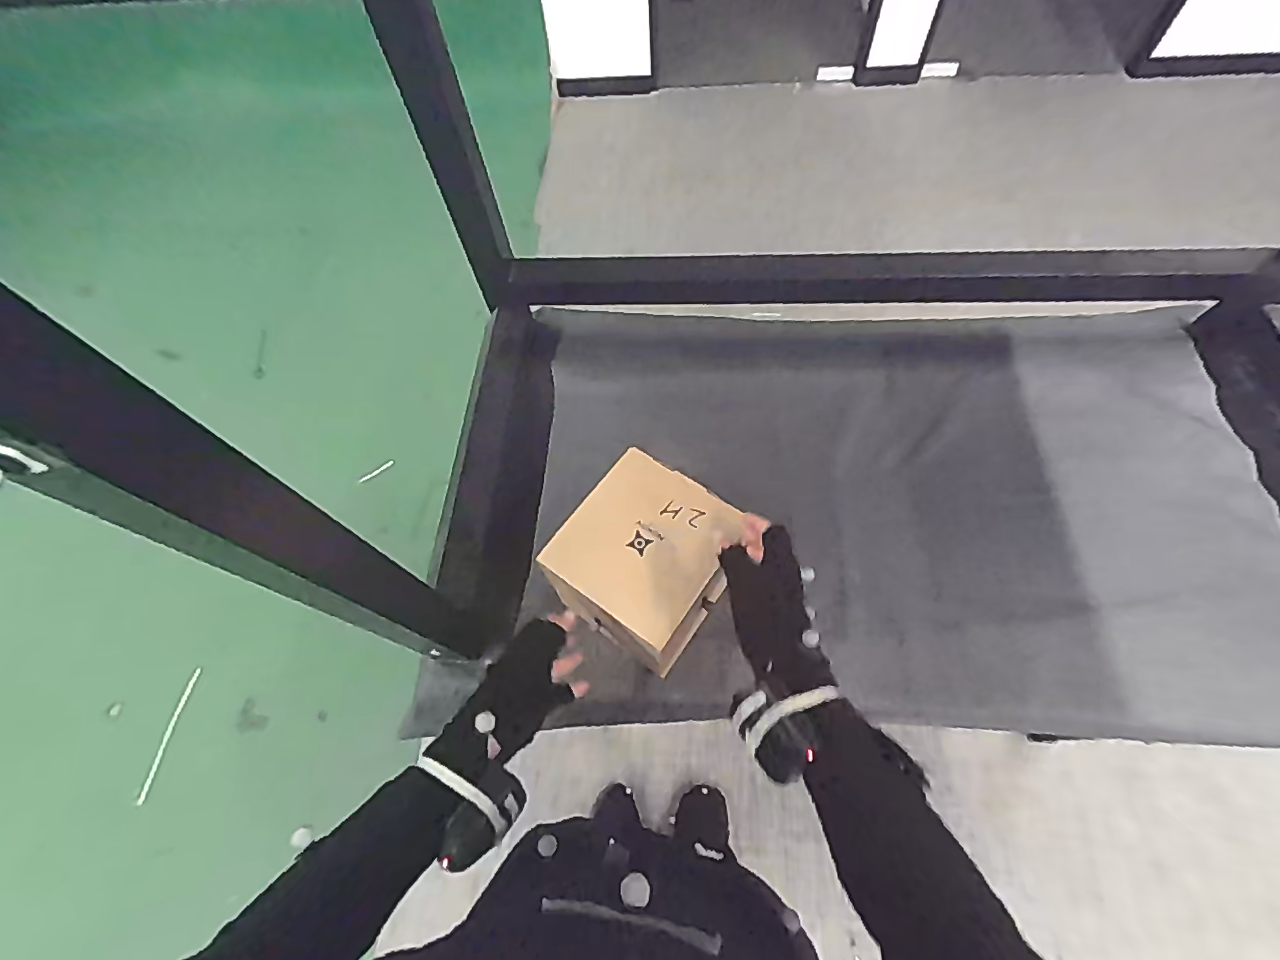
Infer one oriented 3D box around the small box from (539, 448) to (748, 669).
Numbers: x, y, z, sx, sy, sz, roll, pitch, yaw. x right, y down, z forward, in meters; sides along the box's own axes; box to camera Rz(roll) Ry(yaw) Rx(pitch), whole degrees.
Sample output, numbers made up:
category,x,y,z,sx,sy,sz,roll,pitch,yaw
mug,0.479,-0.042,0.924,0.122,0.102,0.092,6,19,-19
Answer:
category,x,y,z,sx,sy,sz,roll,pitch,yaw
small box,0.010,0.102,0.652,0.168,0.176,0.179,32,67,18
